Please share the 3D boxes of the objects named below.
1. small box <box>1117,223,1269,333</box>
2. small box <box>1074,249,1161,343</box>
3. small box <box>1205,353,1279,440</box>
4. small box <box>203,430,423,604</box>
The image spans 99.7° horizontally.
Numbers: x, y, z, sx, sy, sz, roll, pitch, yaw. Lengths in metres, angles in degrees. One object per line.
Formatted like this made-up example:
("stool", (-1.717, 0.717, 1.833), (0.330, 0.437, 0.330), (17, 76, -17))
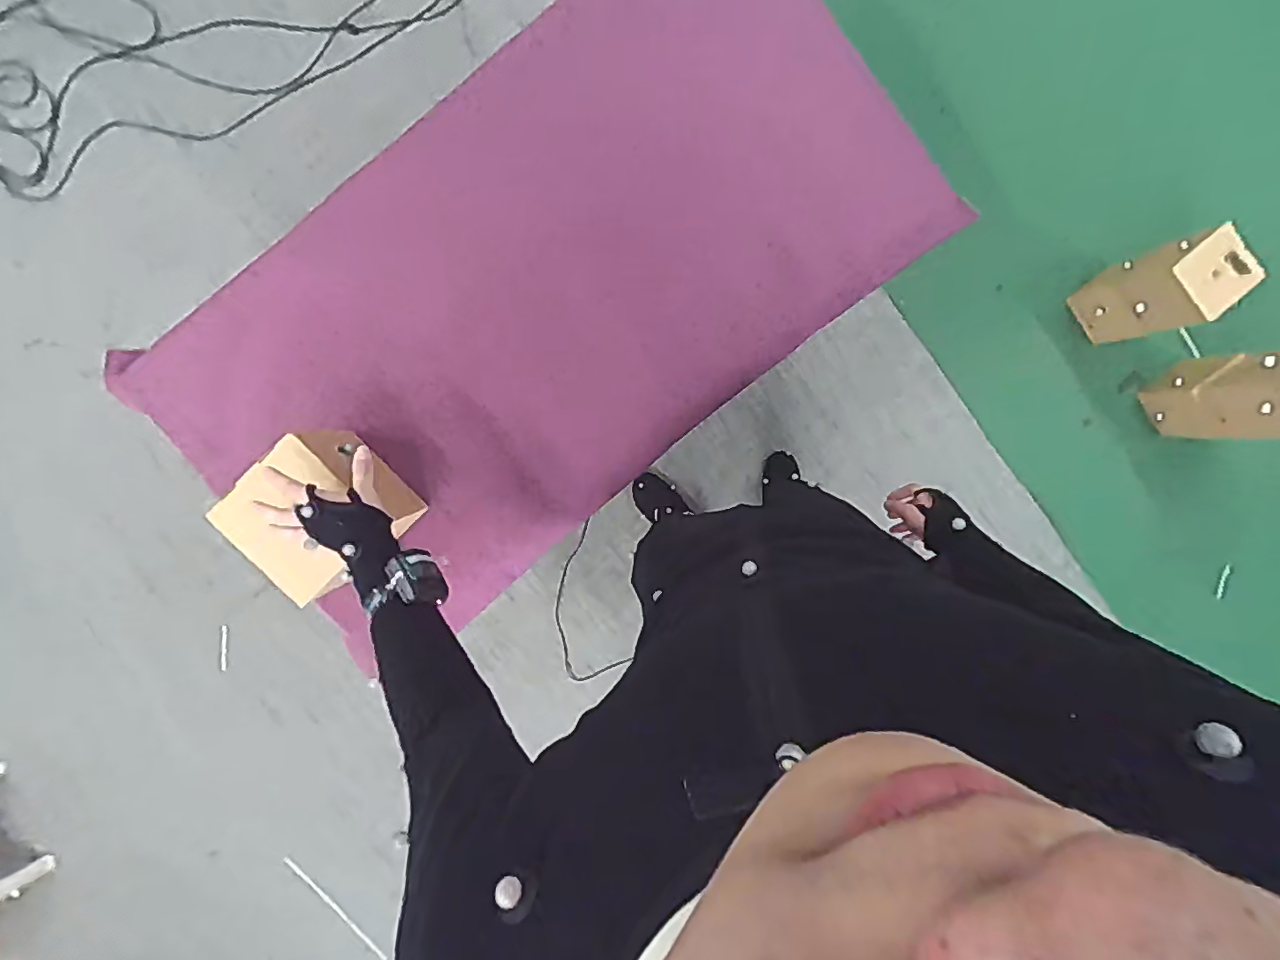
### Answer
("small box", (1.375, -0.498, 1.359), (0.179, 0.176, 0.168), (-40, 94, 3))
("small box", (1.382, -0.510, 1.523), (0.179, 0.176, 0.168), (-37, 95, 1))
("small box", (1.640, -0.220, 1.390), (0.179, 0.176, 0.168), (-35, 96, 2))
("small box", (-0.460, 0.044, 0.792), (0.168, 0.176, 0.179), (-43, 96, 3))
